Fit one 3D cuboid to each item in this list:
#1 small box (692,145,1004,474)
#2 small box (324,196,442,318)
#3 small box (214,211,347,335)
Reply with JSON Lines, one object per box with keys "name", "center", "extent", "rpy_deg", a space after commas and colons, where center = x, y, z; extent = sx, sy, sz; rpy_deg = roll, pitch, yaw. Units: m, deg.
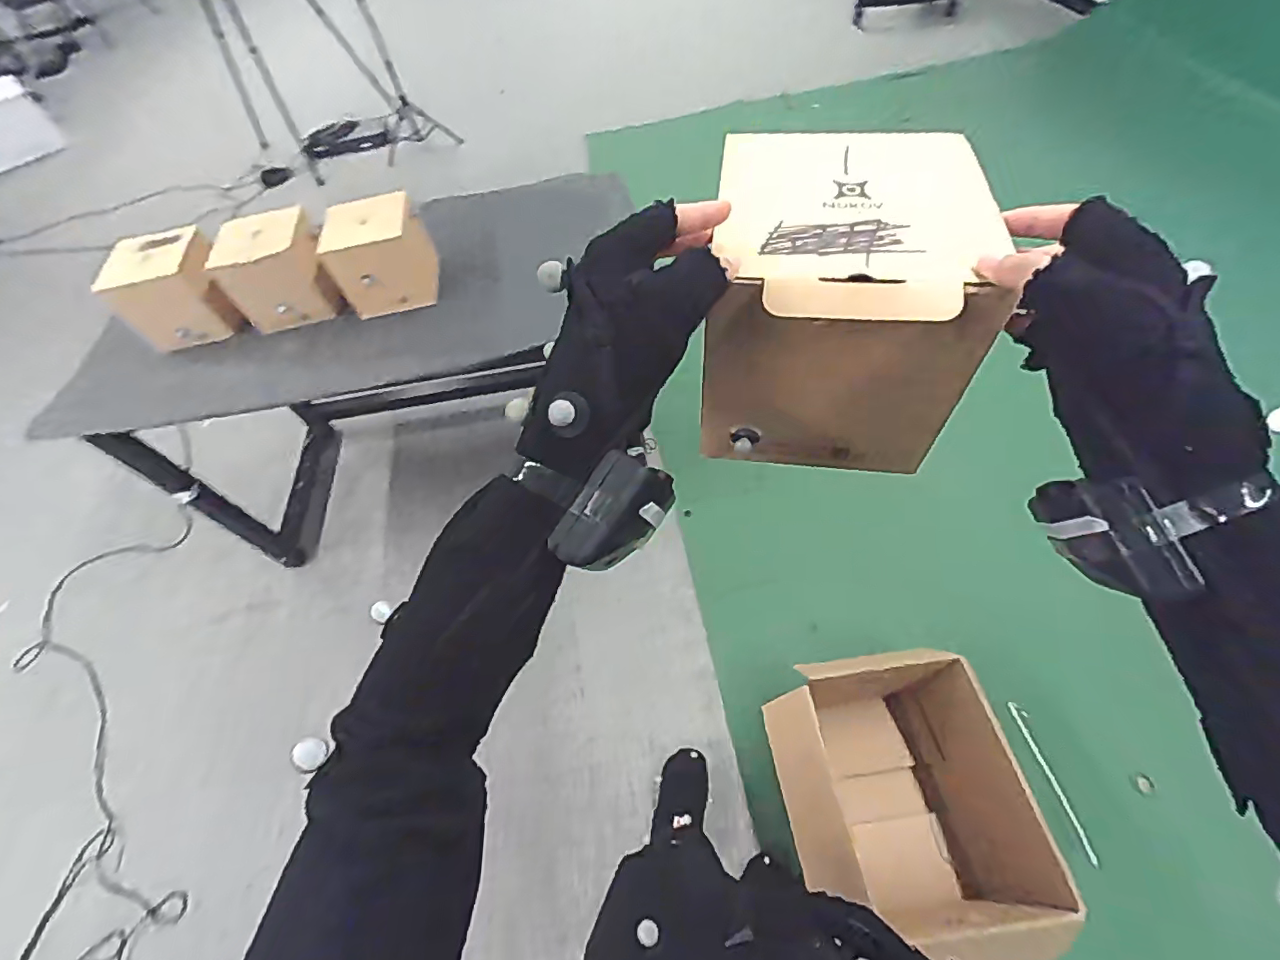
{"name": "small box", "center": [0.129, -0.122, 0.404], "extent": [0.168, 0.176, 0.179], "rpy_deg": [5, 54, 7]}
{"name": "small box", "center": [-0.537, -0.468, 1.158], "extent": [0.168, 0.176, 0.179], "rpy_deg": [-12, 55, -1]}
{"name": "small box", "center": [-0.760, -0.445, 1.170], "extent": [0.168, 0.176, 0.179], "rpy_deg": [-13, 56, -1]}
